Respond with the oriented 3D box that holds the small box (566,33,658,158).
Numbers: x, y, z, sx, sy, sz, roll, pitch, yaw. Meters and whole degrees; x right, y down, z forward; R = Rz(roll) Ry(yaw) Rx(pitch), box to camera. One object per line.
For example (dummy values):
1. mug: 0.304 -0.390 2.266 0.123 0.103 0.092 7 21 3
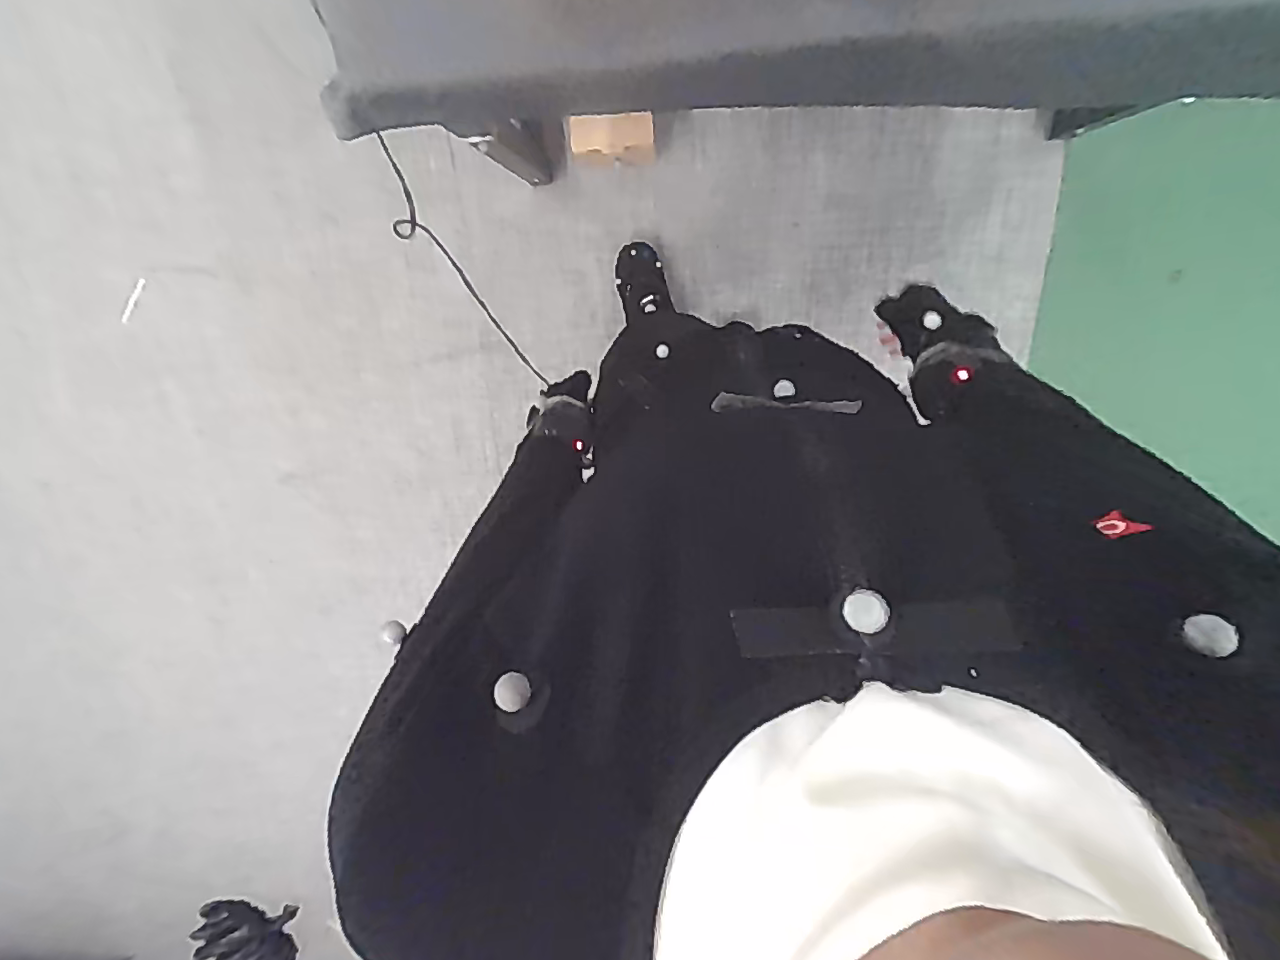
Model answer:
1. small box: -0.049 -0.775 1.112 0.168 0.176 0.179 -2 111 4
